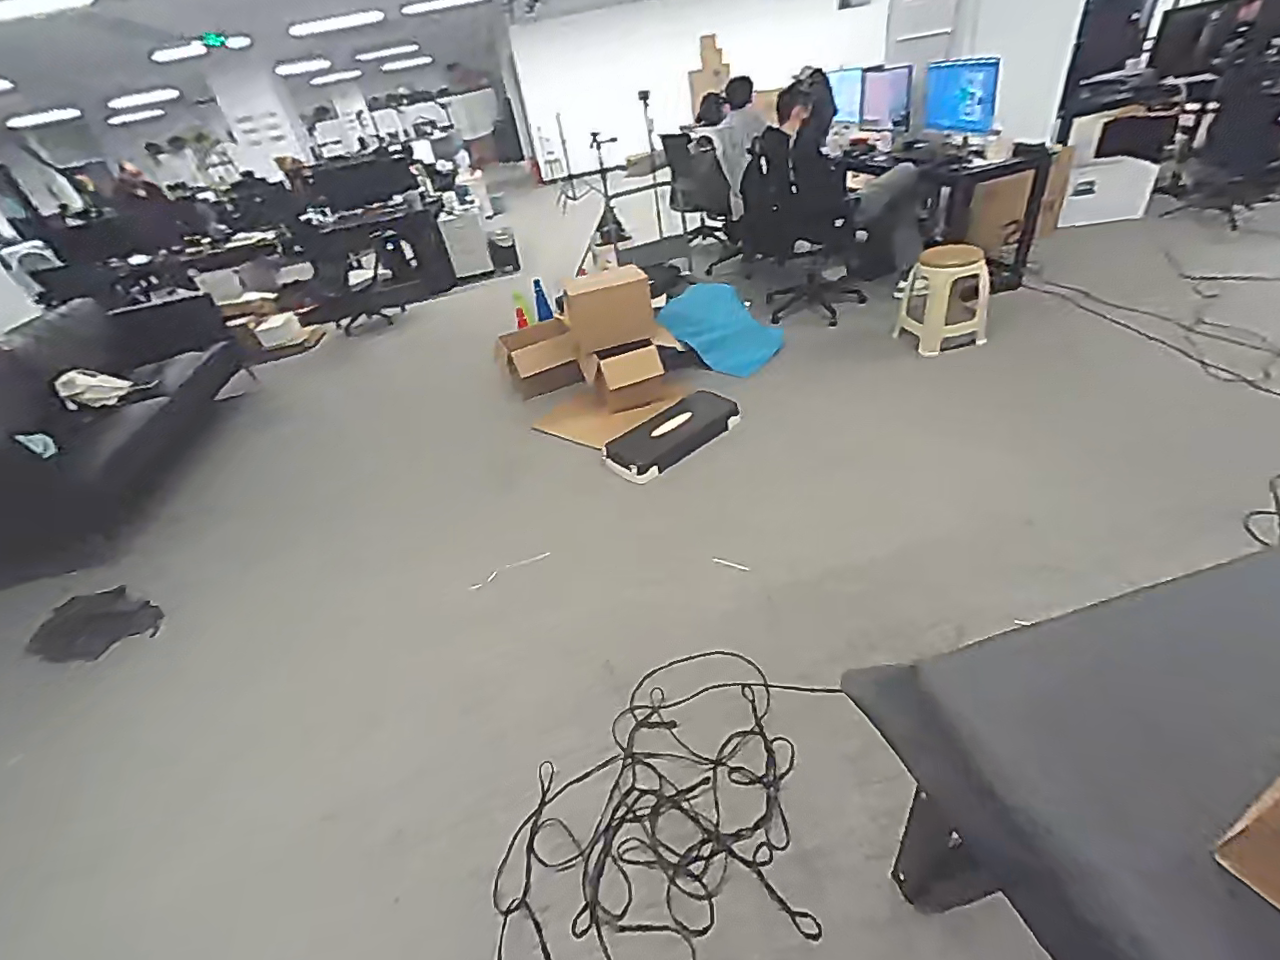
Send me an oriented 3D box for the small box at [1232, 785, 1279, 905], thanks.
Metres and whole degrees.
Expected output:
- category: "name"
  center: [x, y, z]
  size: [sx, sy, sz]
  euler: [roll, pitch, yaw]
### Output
- category: "small box"
  center: [0.648, 0.297, 0.431]
  size: [0.179, 0.176, 0.168]
  euler: [-24, 37, -18]
